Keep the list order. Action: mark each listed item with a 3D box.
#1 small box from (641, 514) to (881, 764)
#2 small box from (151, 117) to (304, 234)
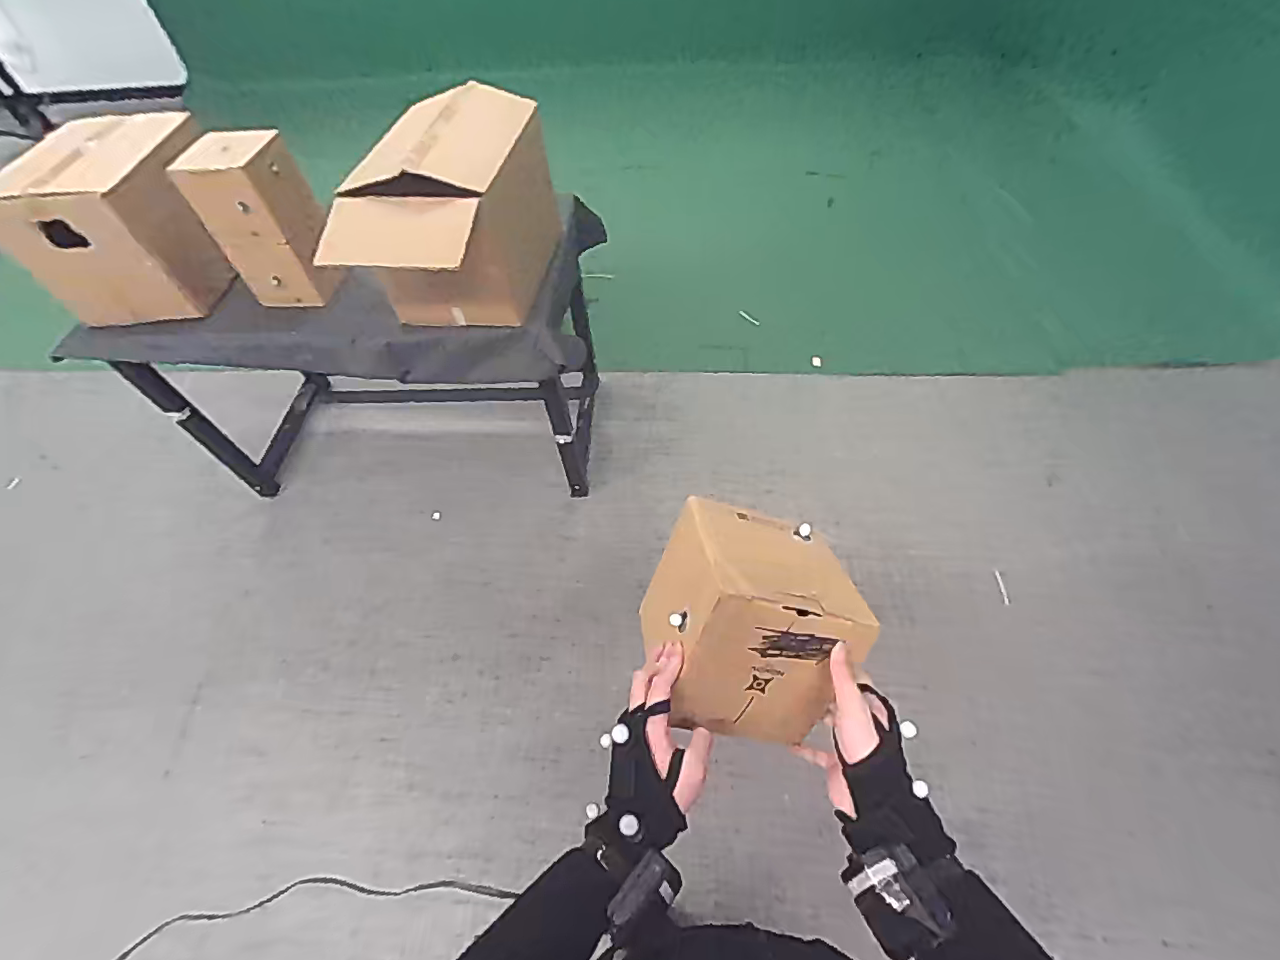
[{"bbox_3d":[0.105,0.160,0.567,0.168,0.179,0.176,15,27,-13],"label":"small box"},{"bbox_3d":[-0.866,-0.648,1.161,0.168,0.176,0.179,1,55,4],"label":"small box"}]
